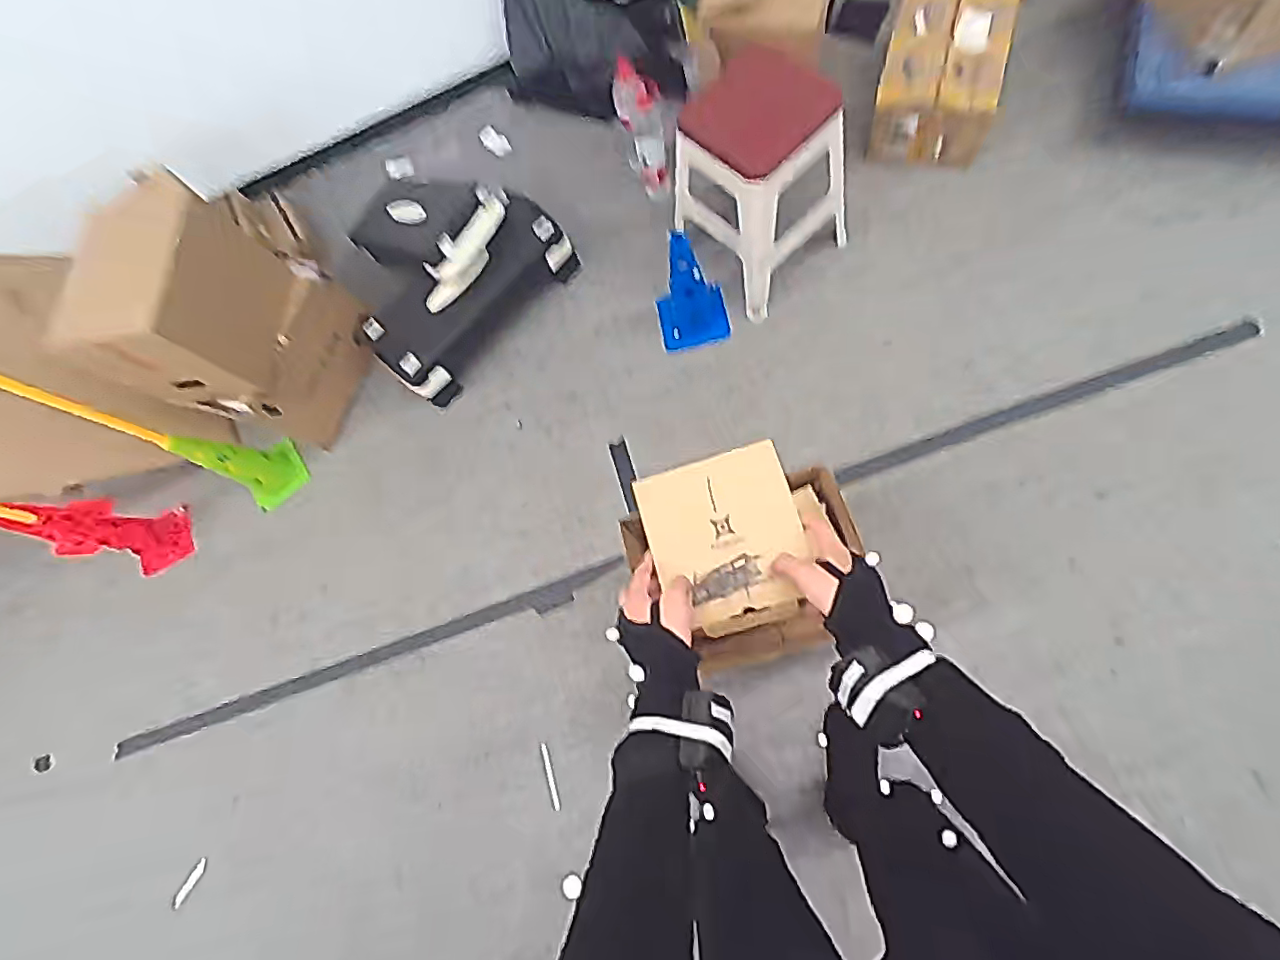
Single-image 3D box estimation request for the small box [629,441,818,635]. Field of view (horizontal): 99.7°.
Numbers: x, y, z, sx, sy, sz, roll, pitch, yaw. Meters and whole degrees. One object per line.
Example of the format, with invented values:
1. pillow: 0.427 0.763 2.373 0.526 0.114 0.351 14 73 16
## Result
1. small box: 0.100 0.074 0.661 0.168 0.176 0.179 -18 77 6
